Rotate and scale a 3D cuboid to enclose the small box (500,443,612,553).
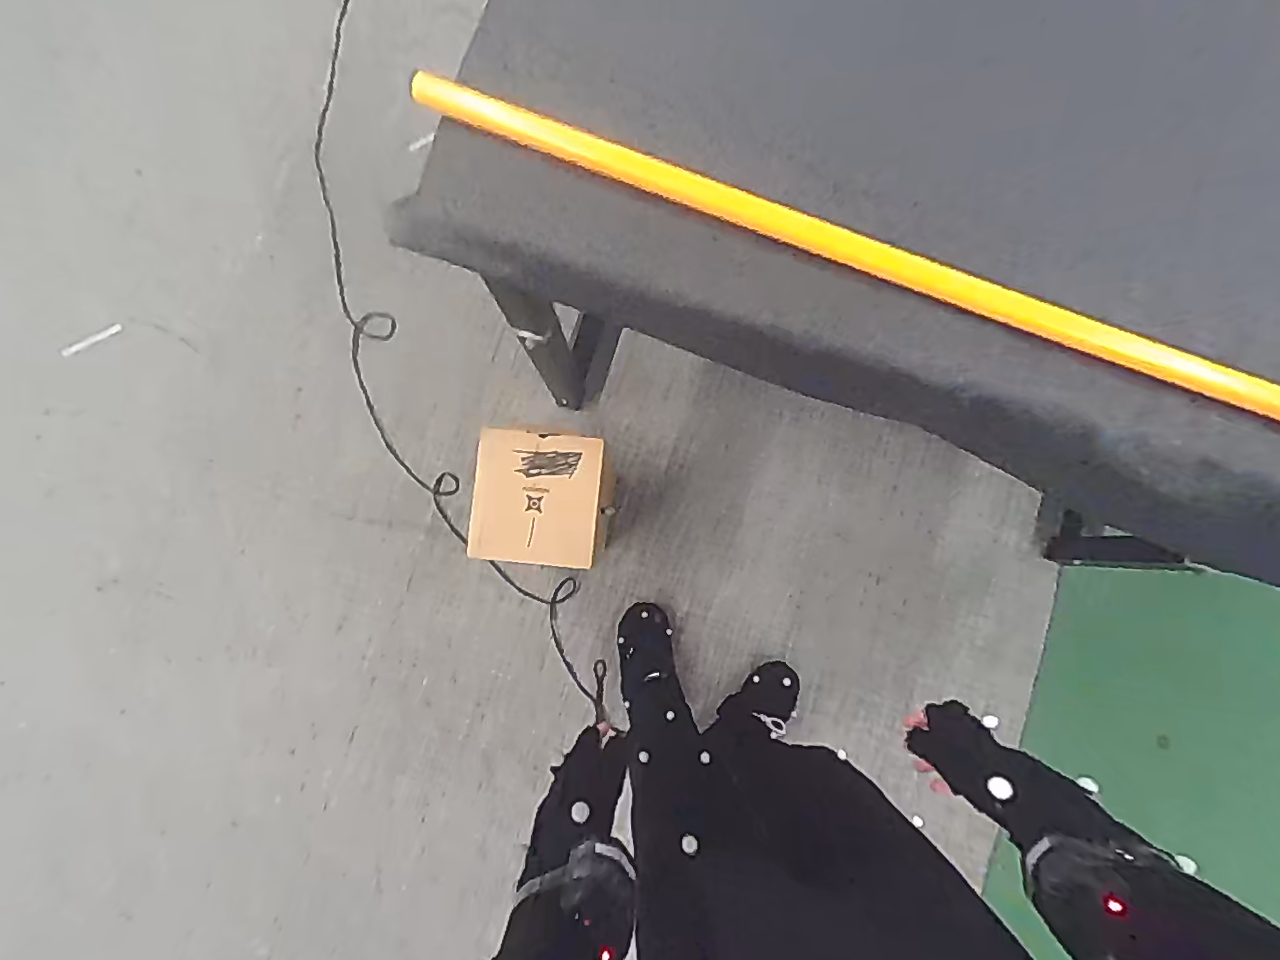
[{"bbox_3d":[-0.139,0.037,0.960,0.168,0.176,0.179,2,83,2],"label":"small box"}]
